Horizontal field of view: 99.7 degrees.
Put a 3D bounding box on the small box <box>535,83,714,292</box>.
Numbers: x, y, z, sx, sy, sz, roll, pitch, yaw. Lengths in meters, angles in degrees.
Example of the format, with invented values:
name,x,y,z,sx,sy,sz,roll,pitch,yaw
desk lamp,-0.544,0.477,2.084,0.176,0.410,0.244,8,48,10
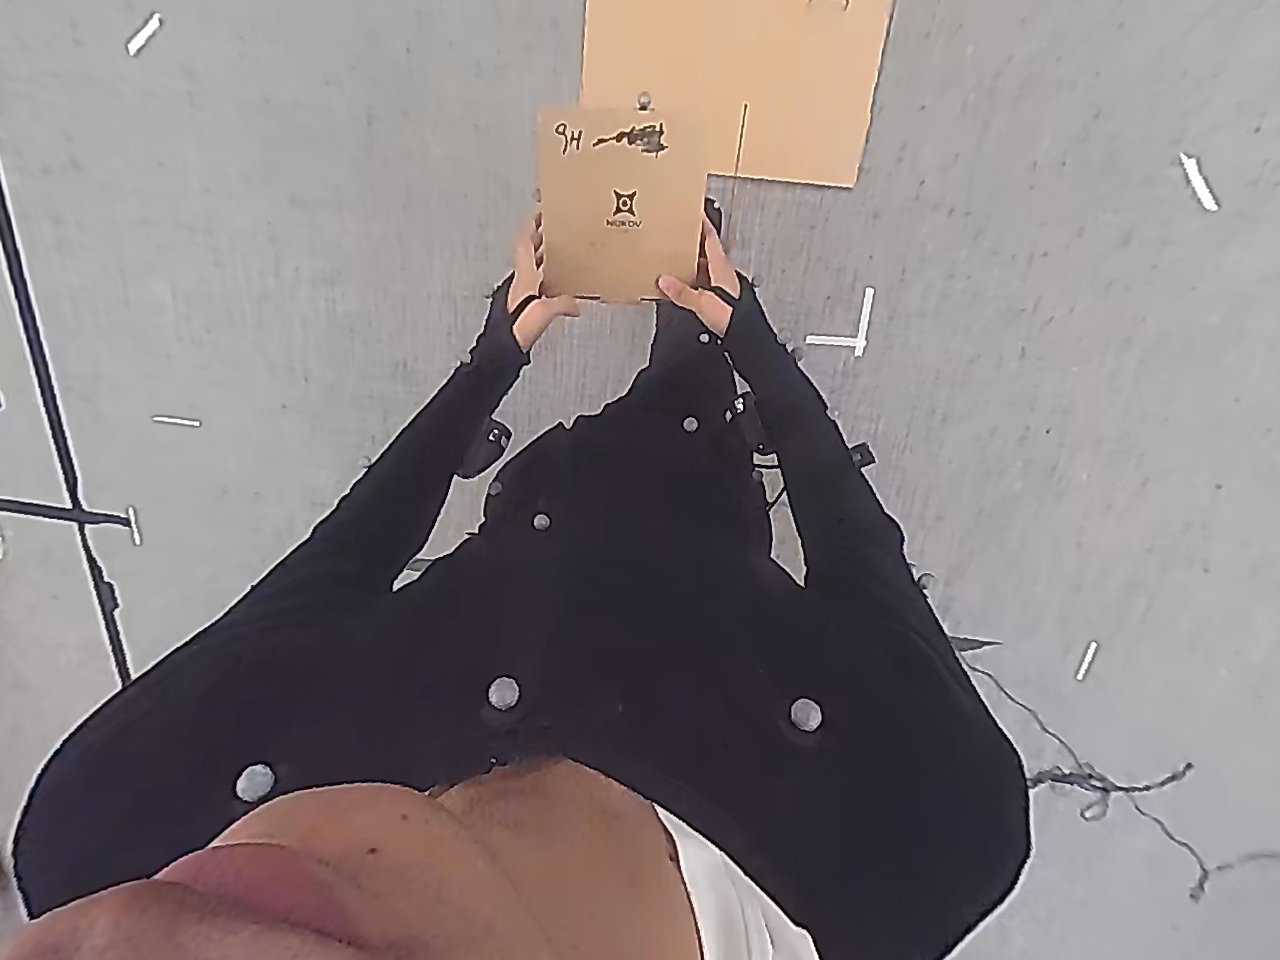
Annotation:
name,x,y,z,sx,sy,sz,roll,pitch,yaw
small box,-0.026,-0.323,0.597,0.168,0.176,0.179,-1,124,-7
